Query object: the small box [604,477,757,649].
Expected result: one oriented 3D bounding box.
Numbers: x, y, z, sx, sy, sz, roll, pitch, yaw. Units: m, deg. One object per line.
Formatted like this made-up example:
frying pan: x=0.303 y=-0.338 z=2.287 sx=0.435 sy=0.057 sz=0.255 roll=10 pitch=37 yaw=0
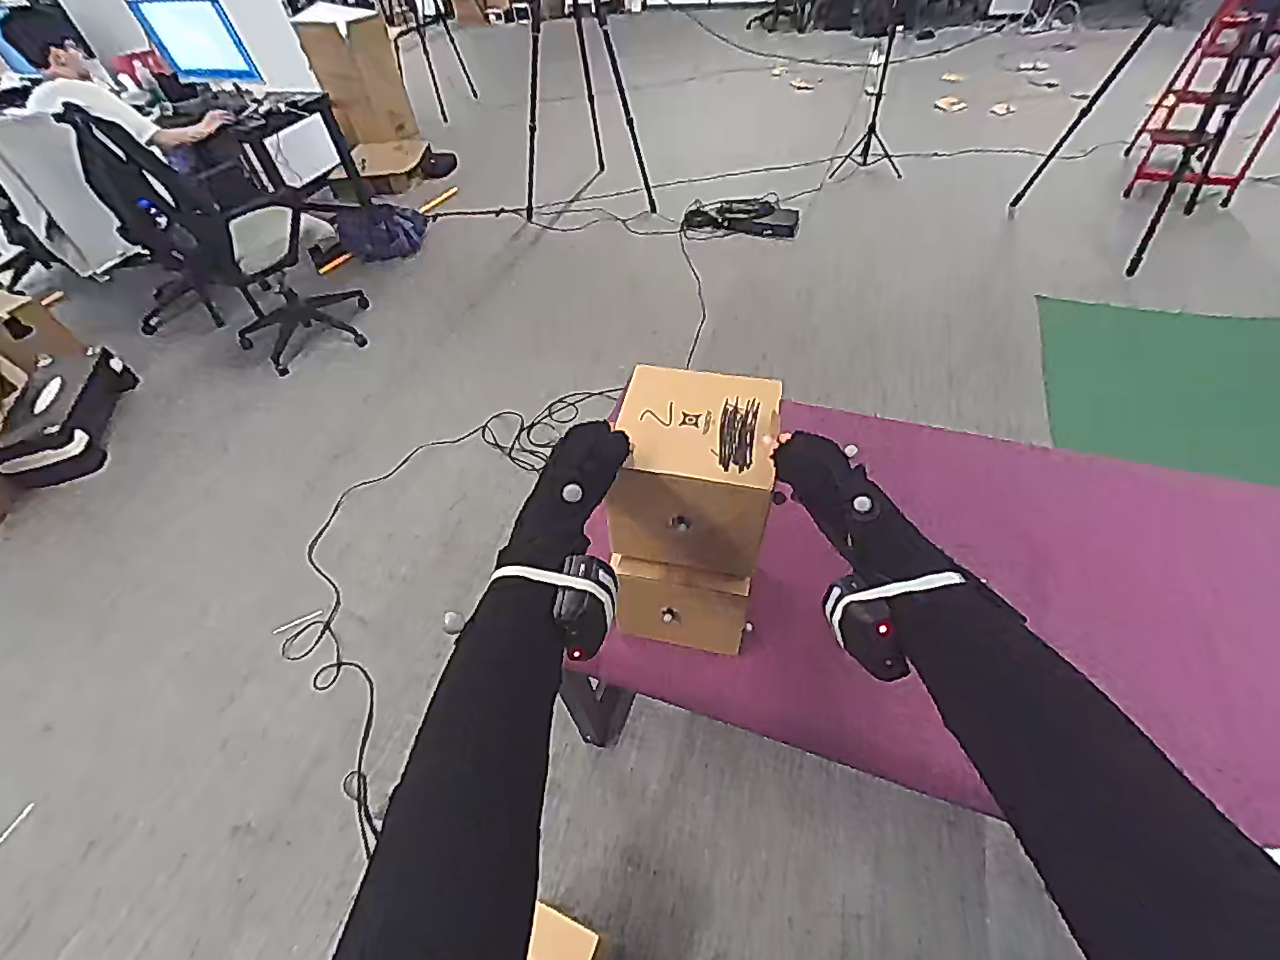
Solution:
small box: x=0.062 y=0.122 z=0.770 sx=0.179 sy=0.176 sz=0.168 roll=8 pitch=49 yaw=12
